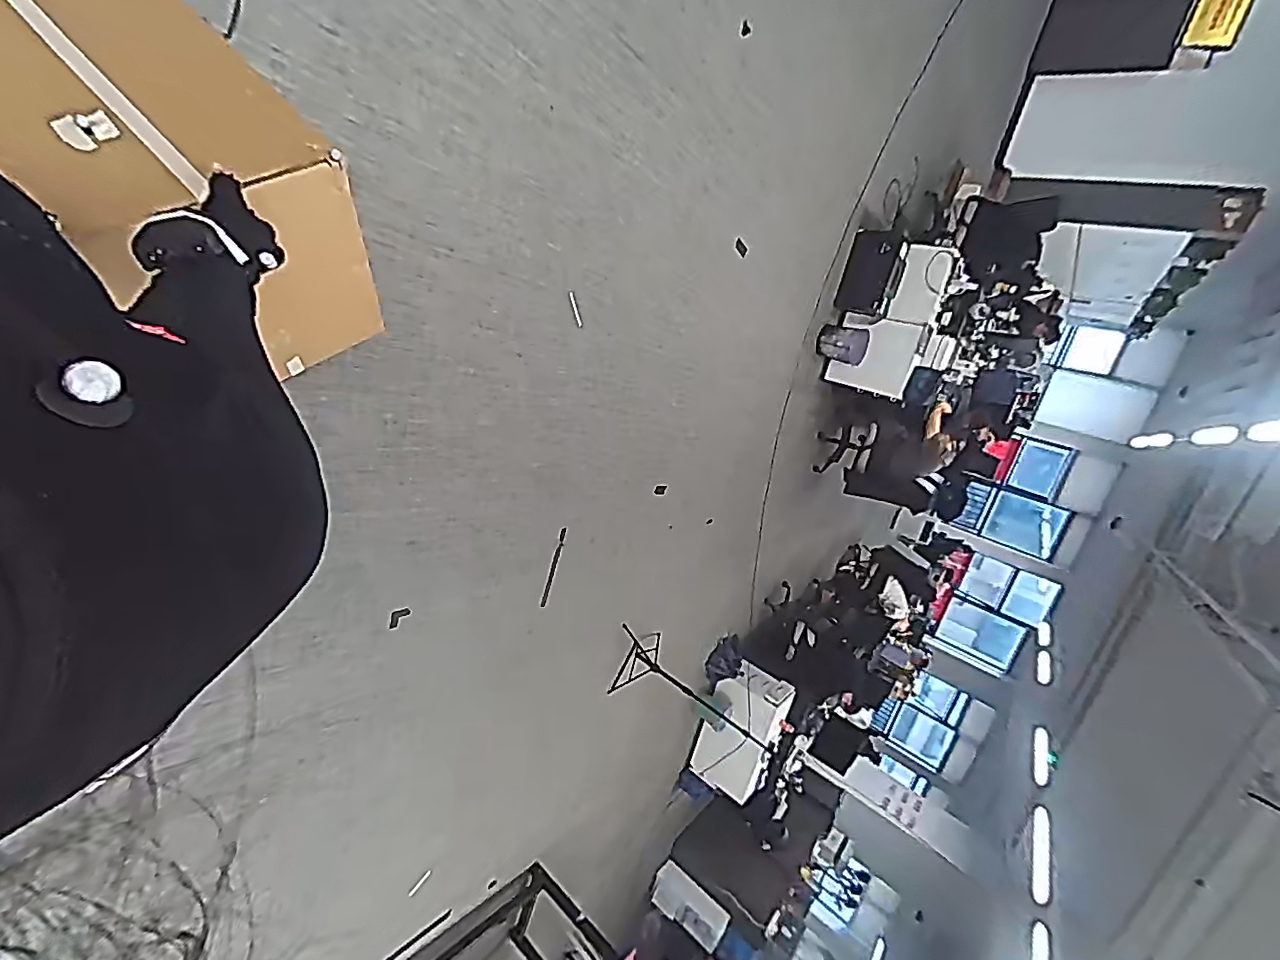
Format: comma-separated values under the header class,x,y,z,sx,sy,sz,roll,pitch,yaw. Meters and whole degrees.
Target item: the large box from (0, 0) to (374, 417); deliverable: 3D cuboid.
class,x,y,z,sx,sy,sz,roll,pitch,yaw
large box,-0.646,-0.370,0.740,0.320,0.408,0.320,-42,172,-27
